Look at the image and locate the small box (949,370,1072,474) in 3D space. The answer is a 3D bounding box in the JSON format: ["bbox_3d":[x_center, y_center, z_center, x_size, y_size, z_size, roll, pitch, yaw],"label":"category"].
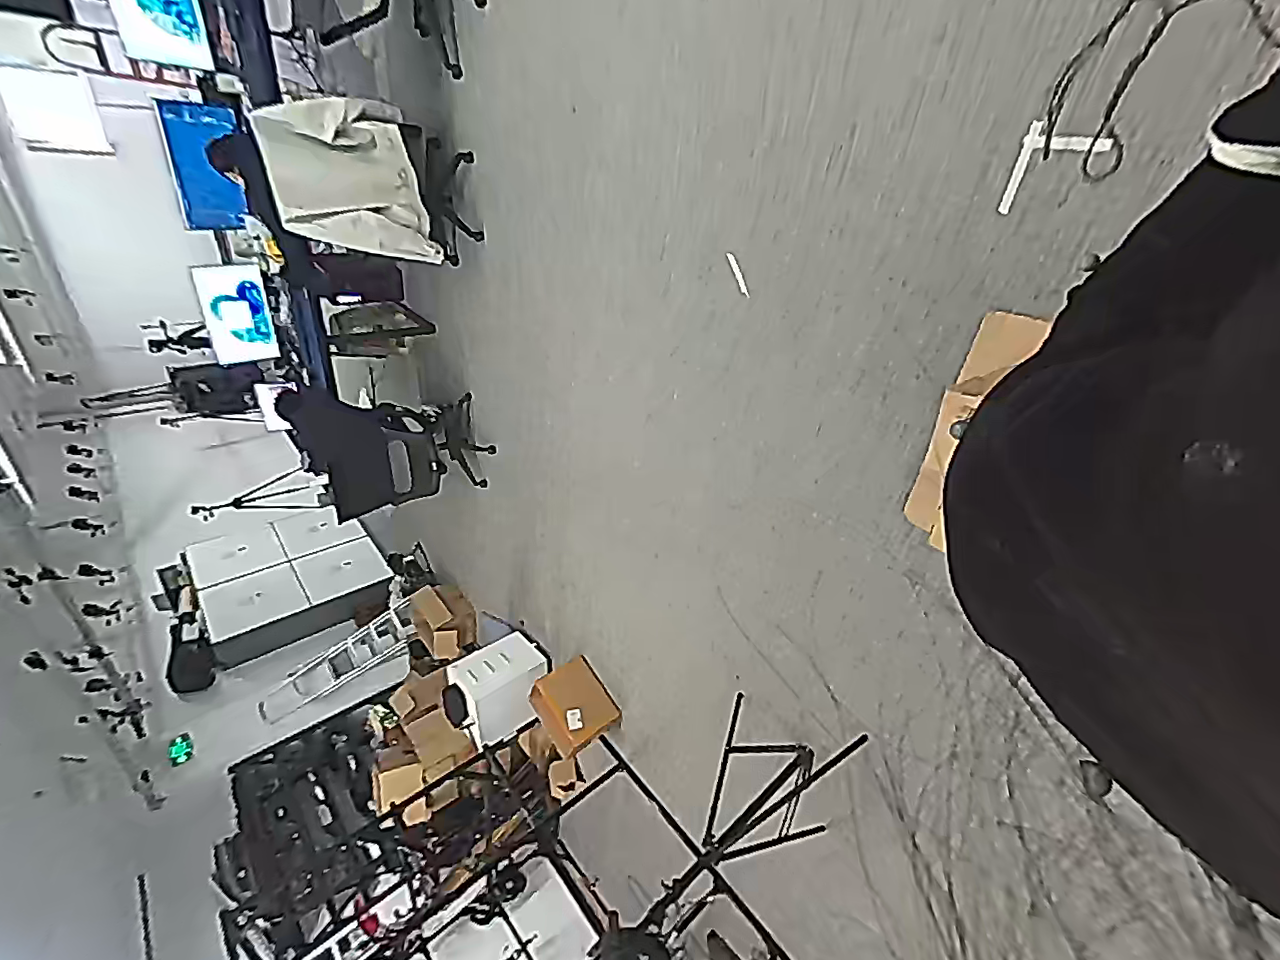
[{"bbox_3d":[0.844,-0.140,1.228,0.168,0.176,0.179,30,128,40],"label":"small box"}]
